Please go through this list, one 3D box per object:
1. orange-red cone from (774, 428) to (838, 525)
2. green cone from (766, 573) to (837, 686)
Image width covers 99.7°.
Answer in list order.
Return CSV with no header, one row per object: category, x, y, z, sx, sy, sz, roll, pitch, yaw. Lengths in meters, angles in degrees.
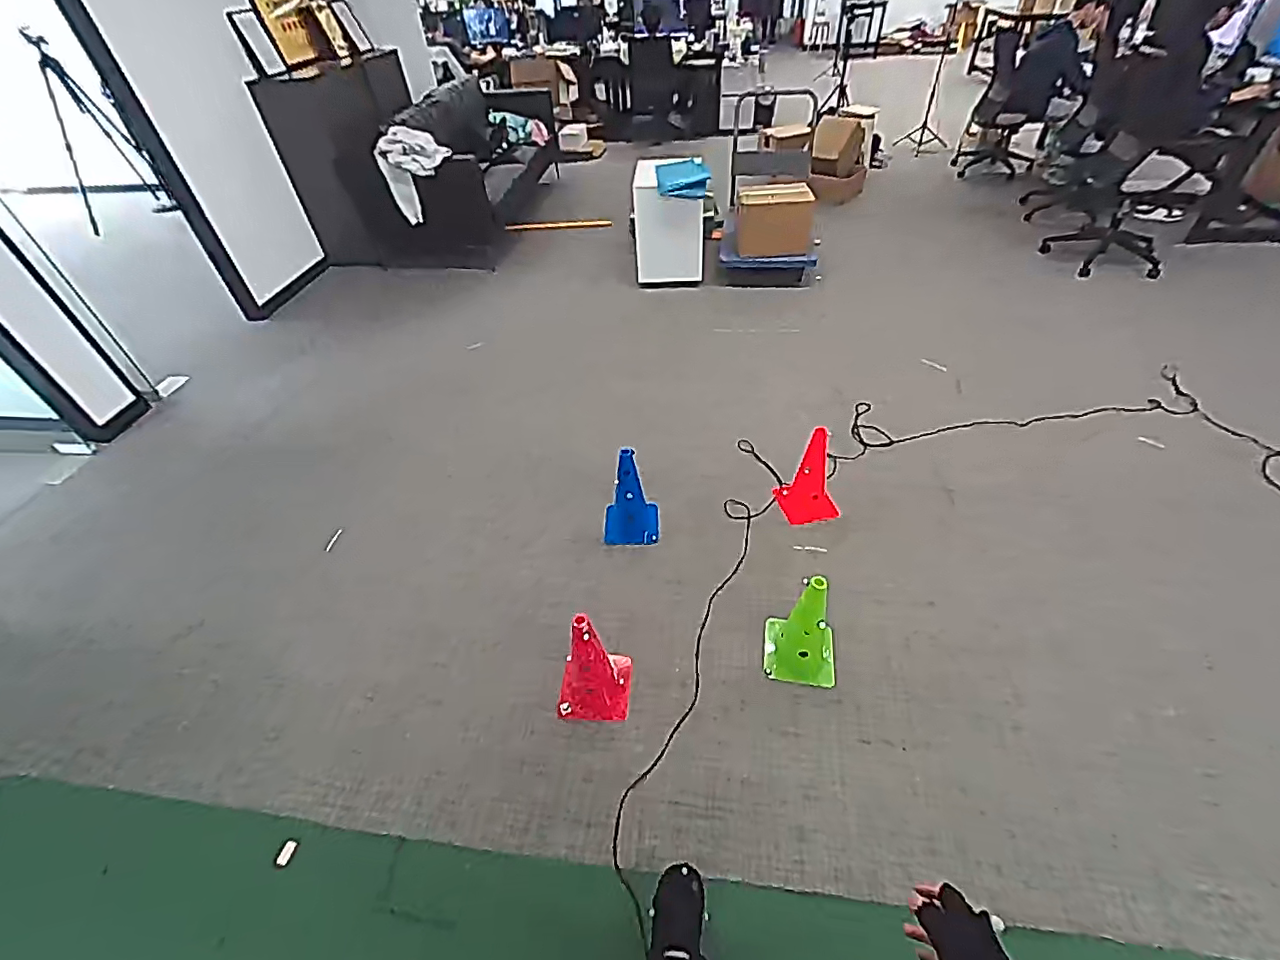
orange-red cone,0.614,-0.036,1.927,0.198,0.360,0.199,-10,45,-5
green cone,0.470,0.386,1.494,0.200,0.368,0.202,5,44,9
